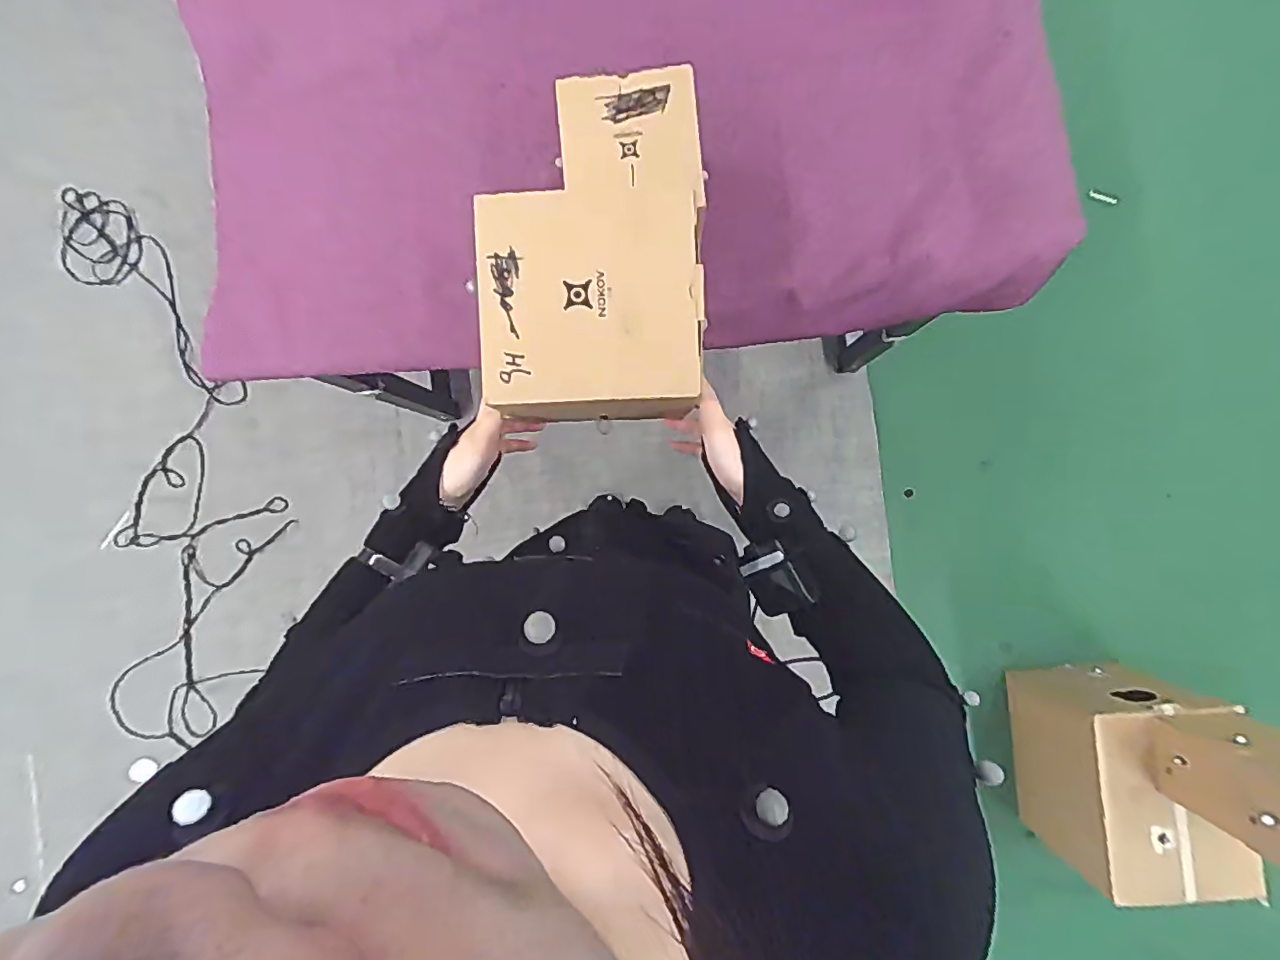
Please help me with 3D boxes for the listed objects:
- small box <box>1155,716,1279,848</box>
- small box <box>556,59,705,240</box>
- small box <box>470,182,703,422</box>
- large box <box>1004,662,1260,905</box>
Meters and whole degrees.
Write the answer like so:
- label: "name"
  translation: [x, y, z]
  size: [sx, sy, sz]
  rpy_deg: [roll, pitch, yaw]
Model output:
- label: "small box"
  translation: [1.161, 0.572, 1.043]
  size: [0.179, 0.176, 0.168]
  rpy_deg: [-4, 89, 2]
- label: "small box"
  translation: [-0.009, -0.394, 0.705]
  size: [0.168, 0.176, 0.179]
  rpy_deg: [-5, 89, 3]
- label: "small box"
  translation: [-0.043, -0.145, 0.491]
  size: [0.179, 0.176, 0.168]
  rpy_deg: [-2, 90, -1]
- label: "large box"
  translation: [1.130, 0.687, 1.285]
  size: [0.320, 0.320, 0.408]
  rpy_deg: [-5, 89, 3]
